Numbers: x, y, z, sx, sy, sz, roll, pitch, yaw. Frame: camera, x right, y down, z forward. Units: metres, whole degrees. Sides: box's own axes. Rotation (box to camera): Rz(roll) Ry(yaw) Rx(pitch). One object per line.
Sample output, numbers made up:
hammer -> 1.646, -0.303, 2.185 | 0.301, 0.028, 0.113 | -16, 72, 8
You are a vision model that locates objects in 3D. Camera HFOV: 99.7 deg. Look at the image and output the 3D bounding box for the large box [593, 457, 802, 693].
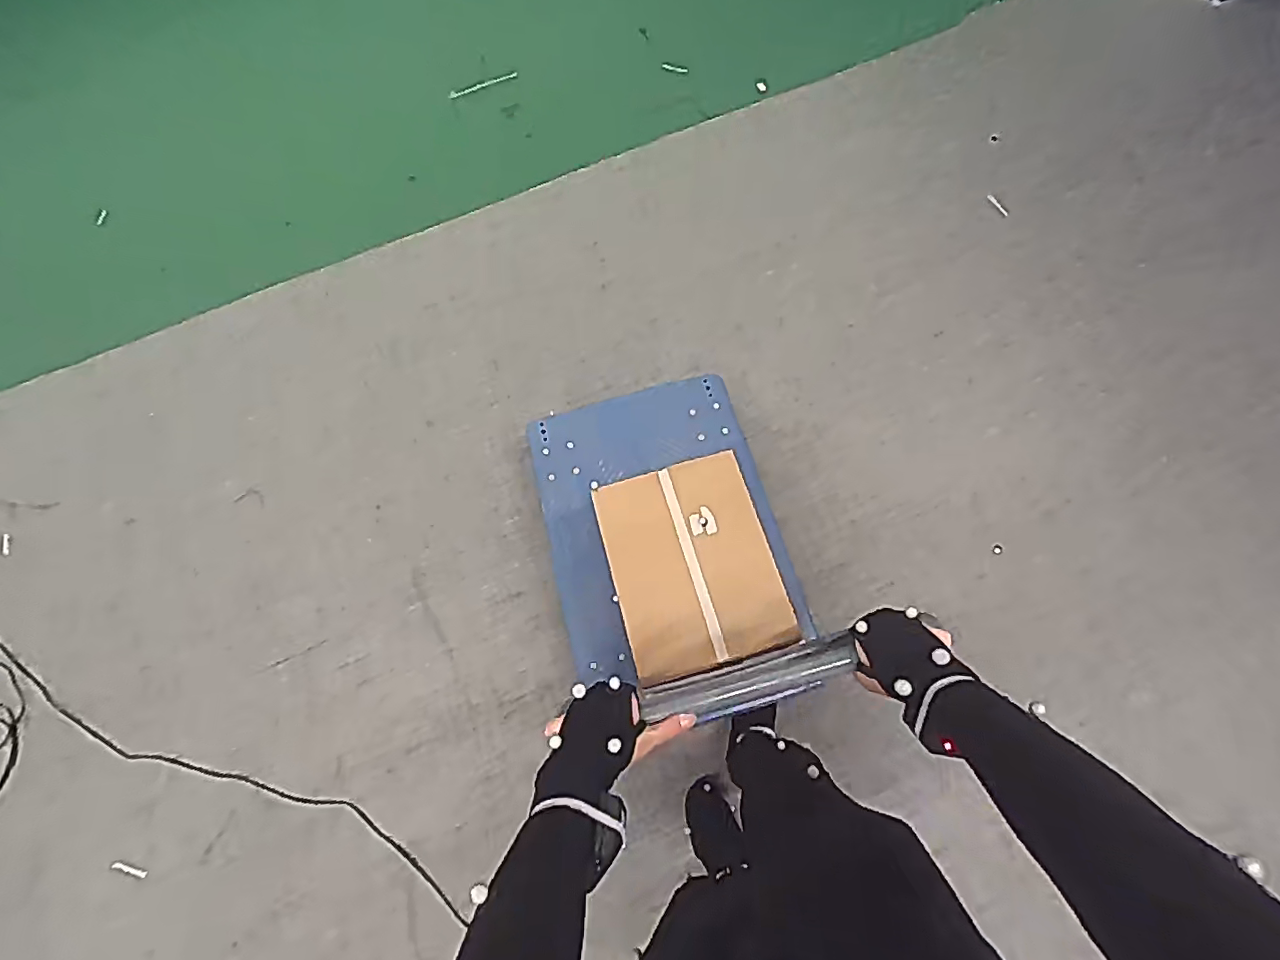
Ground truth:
large box -> 0.112, 0.222, 1.199 | 0.320, 0.320, 0.408 | -15, 68, -3
